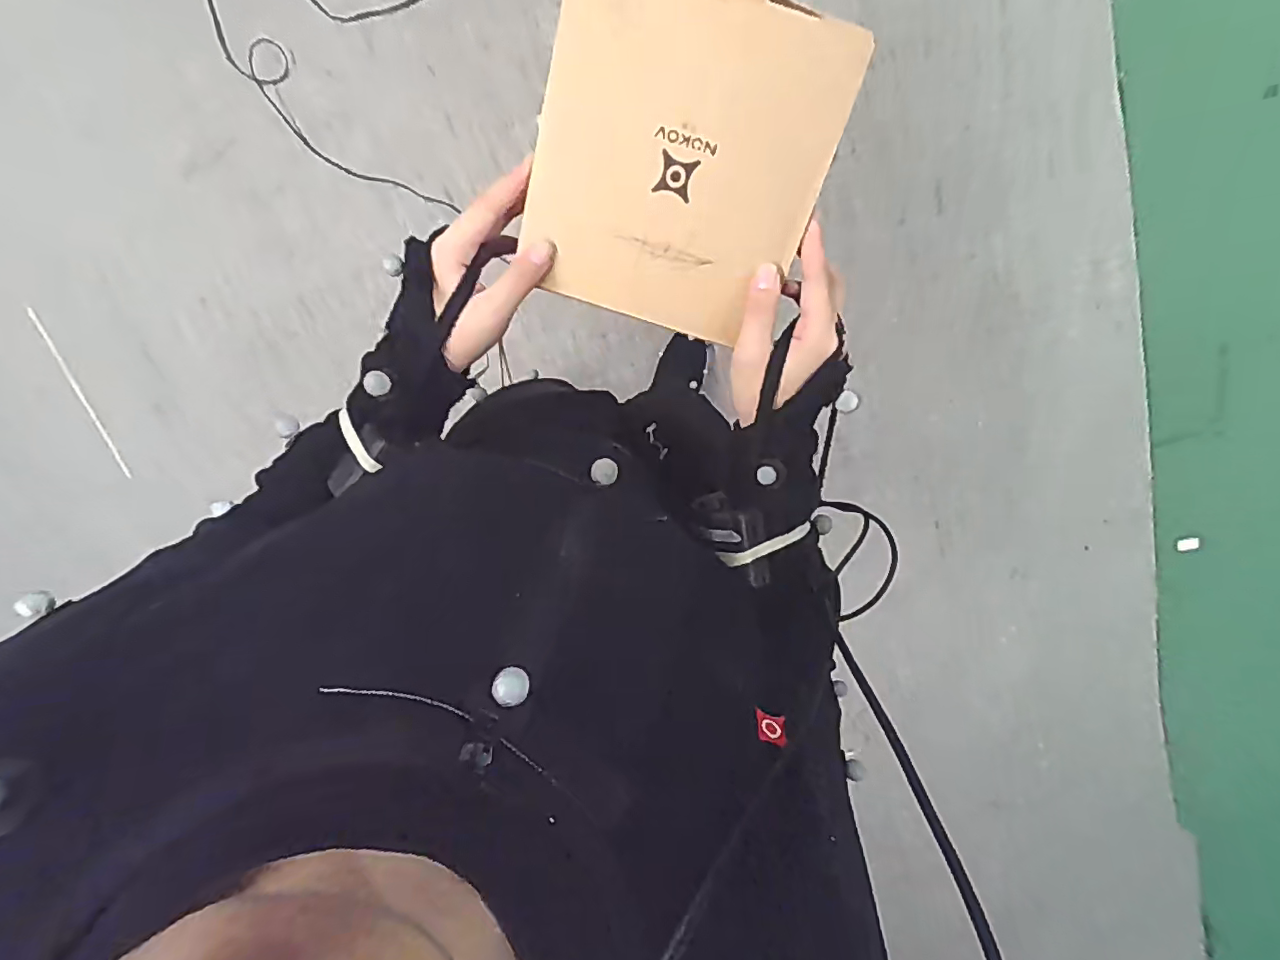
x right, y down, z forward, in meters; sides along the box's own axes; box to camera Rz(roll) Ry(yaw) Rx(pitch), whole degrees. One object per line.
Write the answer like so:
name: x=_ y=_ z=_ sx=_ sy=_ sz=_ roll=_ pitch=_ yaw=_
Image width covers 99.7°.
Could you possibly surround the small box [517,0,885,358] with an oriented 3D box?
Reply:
small box: x=0.030 y=-0.208 z=0.377 sx=0.168 sy=0.176 sz=0.179 roll=17 pitch=115 yaw=-2
